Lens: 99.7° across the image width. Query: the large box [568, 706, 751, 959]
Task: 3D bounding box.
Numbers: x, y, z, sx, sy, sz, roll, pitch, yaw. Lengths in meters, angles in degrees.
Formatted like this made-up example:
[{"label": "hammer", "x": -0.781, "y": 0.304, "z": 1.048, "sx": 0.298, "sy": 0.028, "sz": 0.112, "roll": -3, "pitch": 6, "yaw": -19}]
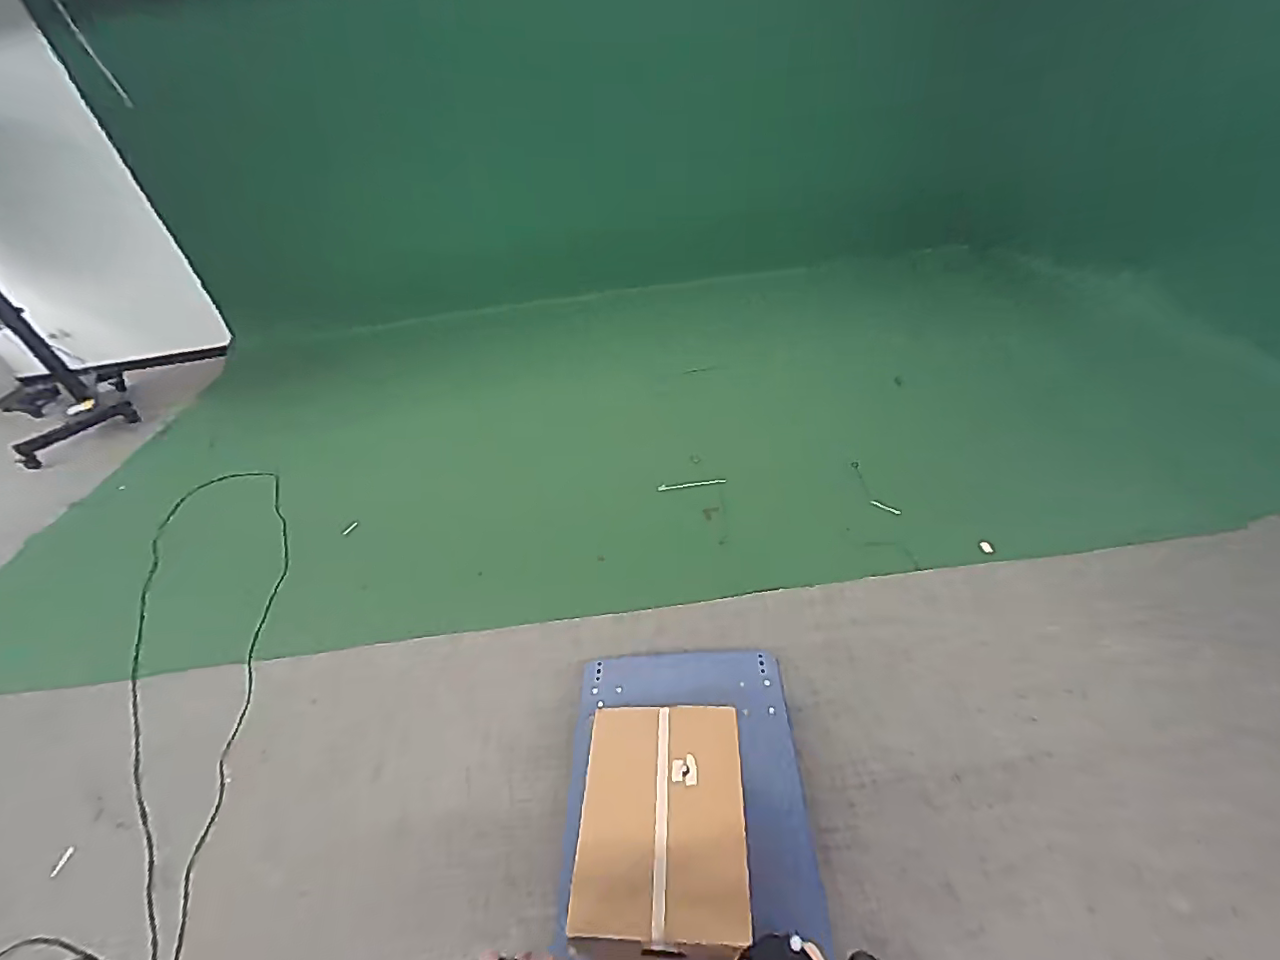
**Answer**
[{"label": "large box", "x": 0.058, "y": 0.745, "z": 1.138, "sx": 0.320, "sy": 0.320, "sz": 0.408, "roll": -3, "pitch": 39, "yaw": 7}]
